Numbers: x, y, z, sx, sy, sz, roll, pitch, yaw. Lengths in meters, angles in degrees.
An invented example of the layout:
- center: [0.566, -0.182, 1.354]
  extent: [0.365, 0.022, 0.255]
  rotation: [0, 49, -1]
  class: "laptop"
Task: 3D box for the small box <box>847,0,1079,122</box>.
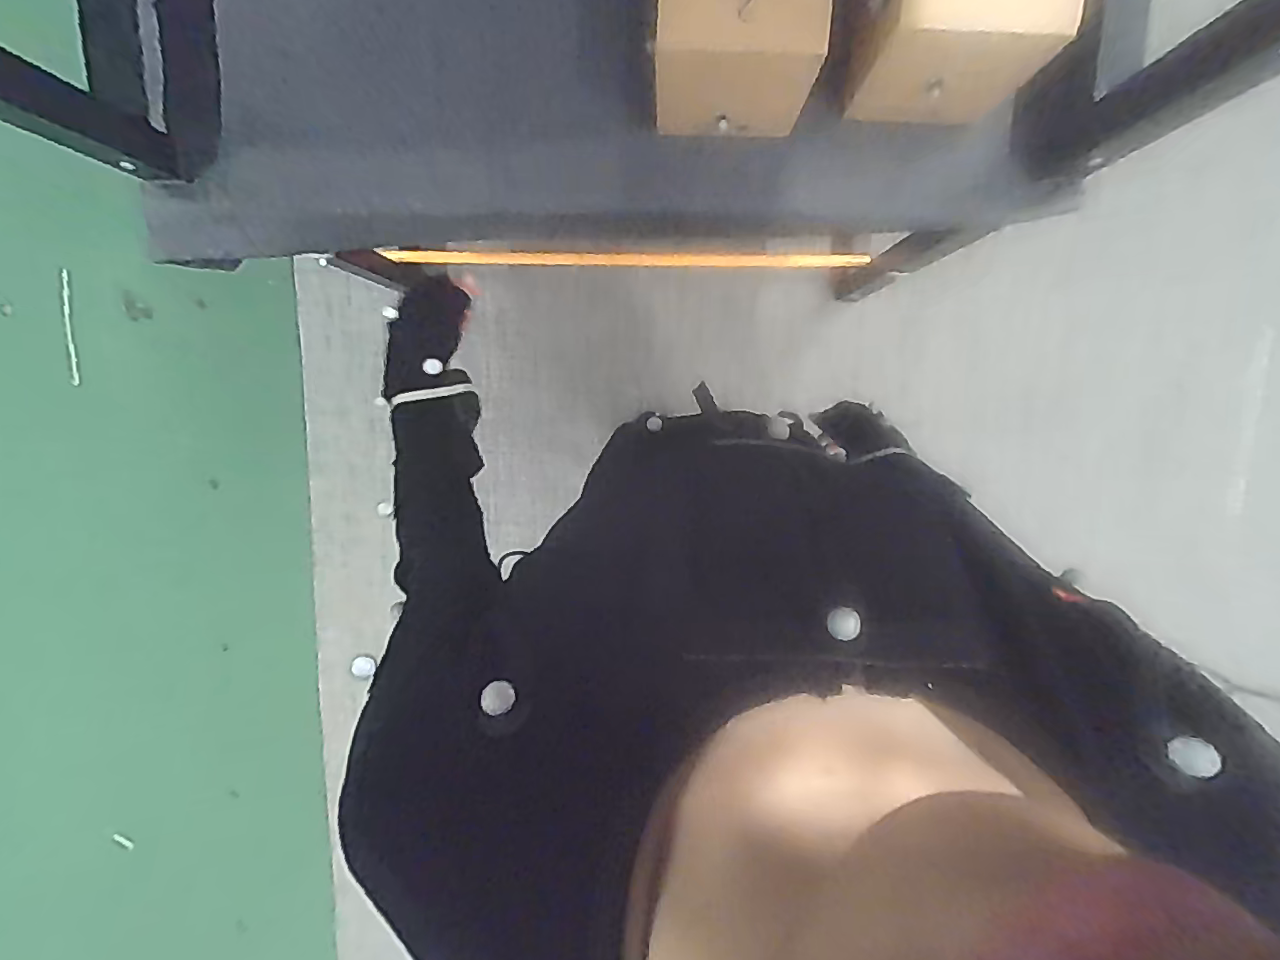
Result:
- center: [0.334, -0.515, 0.574]
  extent: [0.168, 0.176, 0.179]
  rotation: [5, 98, 2]
  class: "small box"
